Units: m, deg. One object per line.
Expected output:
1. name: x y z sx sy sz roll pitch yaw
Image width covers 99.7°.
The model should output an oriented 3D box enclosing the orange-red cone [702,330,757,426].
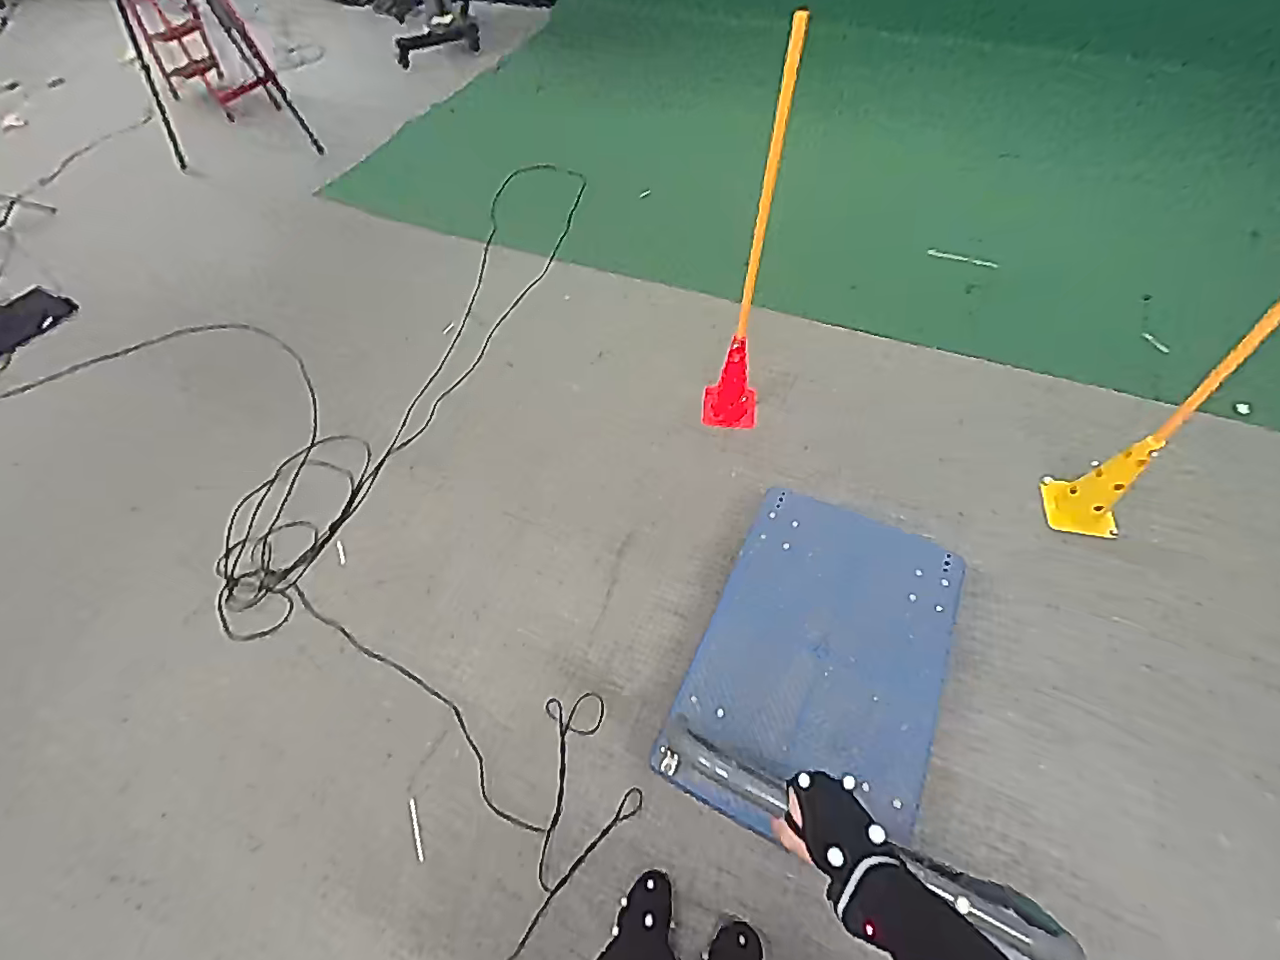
1. orange-red cone: 0.331 -0.380 1.918 0.199 0.360 0.198 5 56 8
